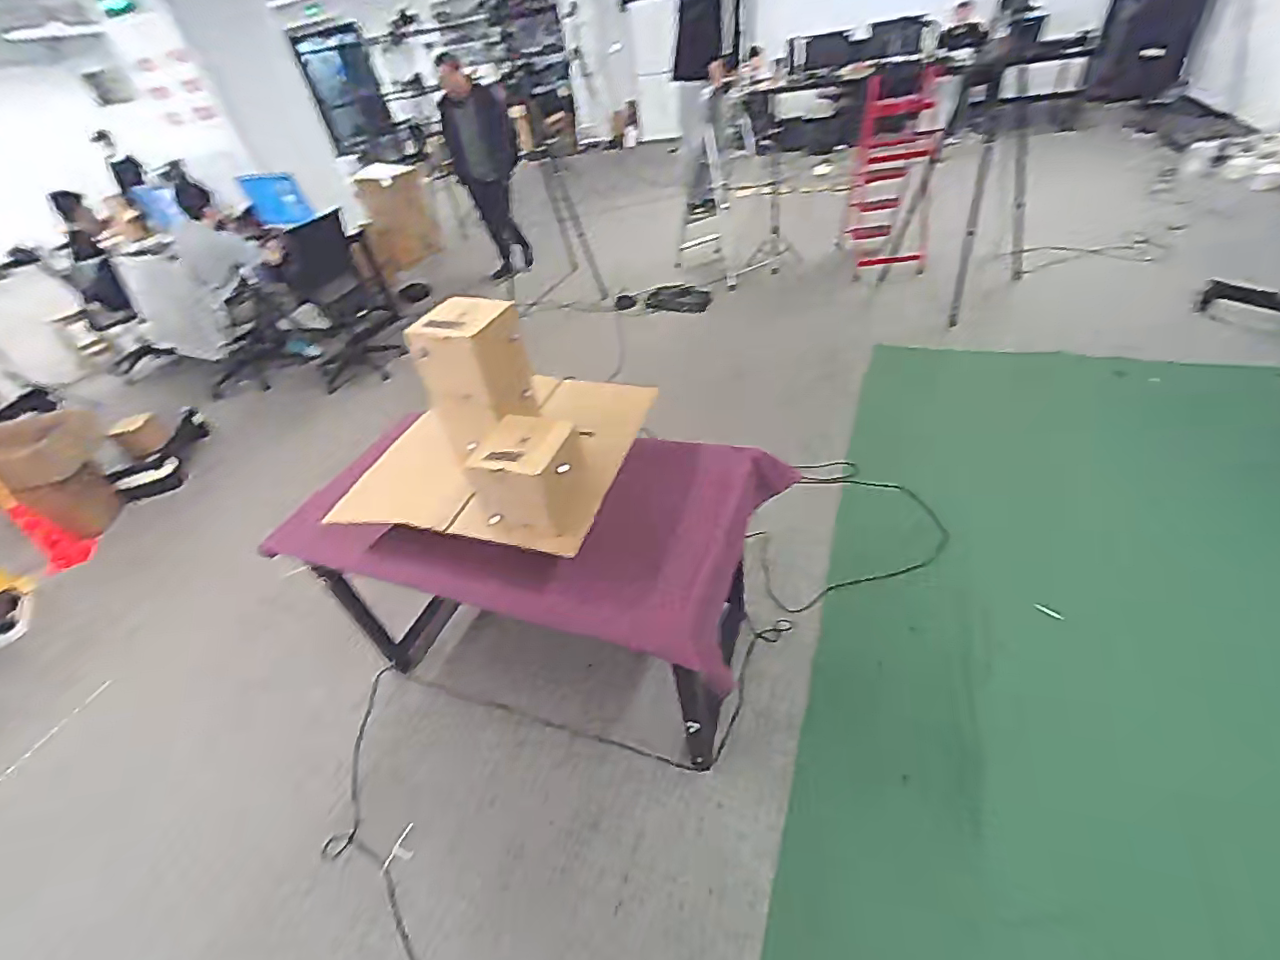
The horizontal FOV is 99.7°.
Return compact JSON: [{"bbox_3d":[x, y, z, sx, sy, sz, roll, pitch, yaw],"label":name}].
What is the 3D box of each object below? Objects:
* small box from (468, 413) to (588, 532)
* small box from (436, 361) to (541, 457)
[{"bbox_3d":[-0.219,-0.015,1.121,0.168,0.176,0.179,9,43,18],"label":"small box"},{"bbox_3d":[-0.353,-0.165,1.306,0.168,0.176,0.179,10,45,18],"label":"small box"}]
